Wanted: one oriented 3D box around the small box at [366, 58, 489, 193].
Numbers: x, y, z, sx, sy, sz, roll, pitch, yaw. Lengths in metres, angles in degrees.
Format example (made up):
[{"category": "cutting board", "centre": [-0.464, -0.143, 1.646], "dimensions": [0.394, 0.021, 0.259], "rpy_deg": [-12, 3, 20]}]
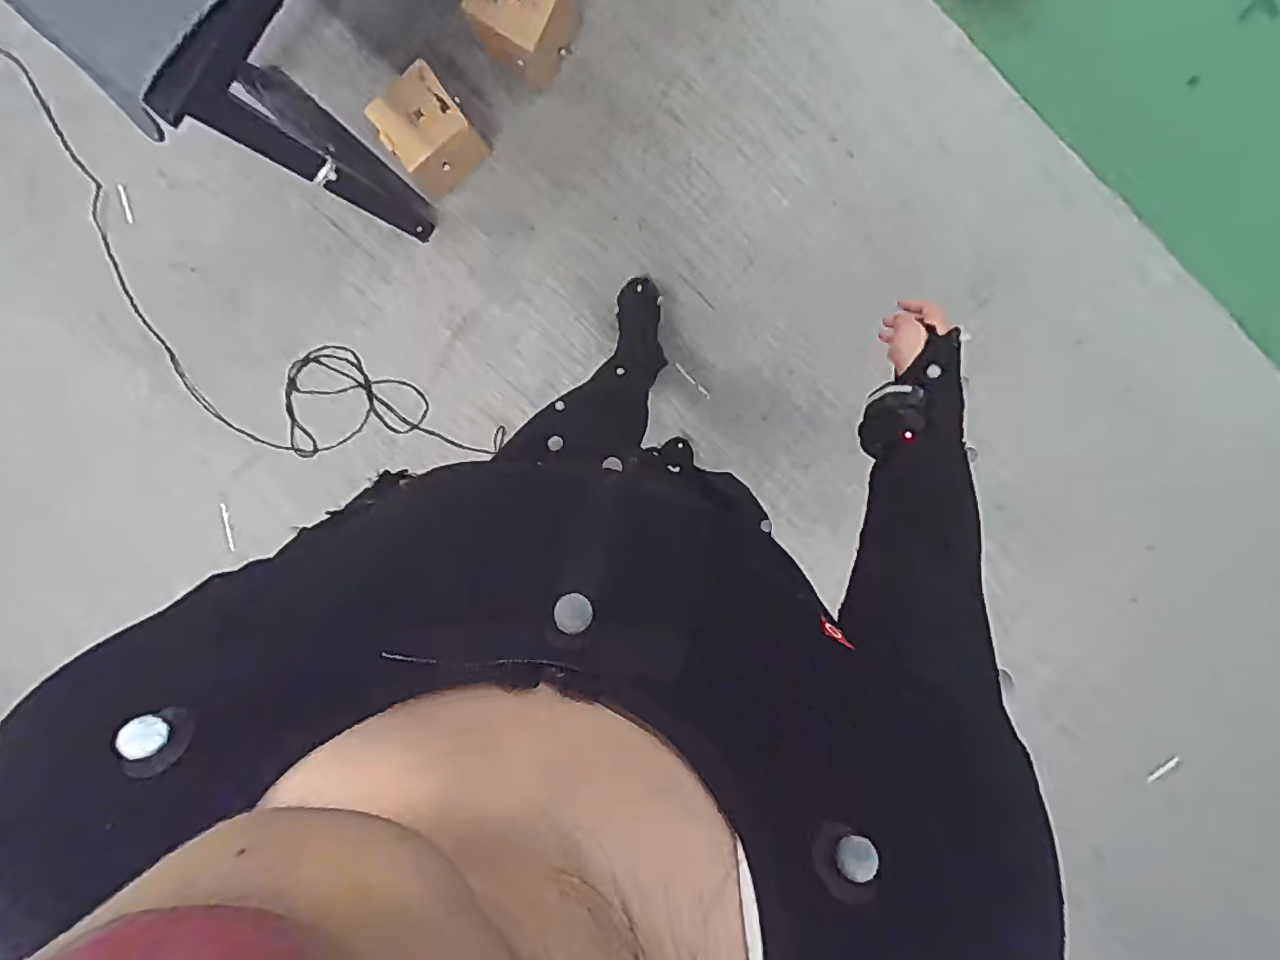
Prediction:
[{"category": "small box", "centre": [-0.486, -0.815, 1.267], "dimensions": [0.179, 0.176, 0.168], "rpy_deg": [-35, 97, 9]}]
